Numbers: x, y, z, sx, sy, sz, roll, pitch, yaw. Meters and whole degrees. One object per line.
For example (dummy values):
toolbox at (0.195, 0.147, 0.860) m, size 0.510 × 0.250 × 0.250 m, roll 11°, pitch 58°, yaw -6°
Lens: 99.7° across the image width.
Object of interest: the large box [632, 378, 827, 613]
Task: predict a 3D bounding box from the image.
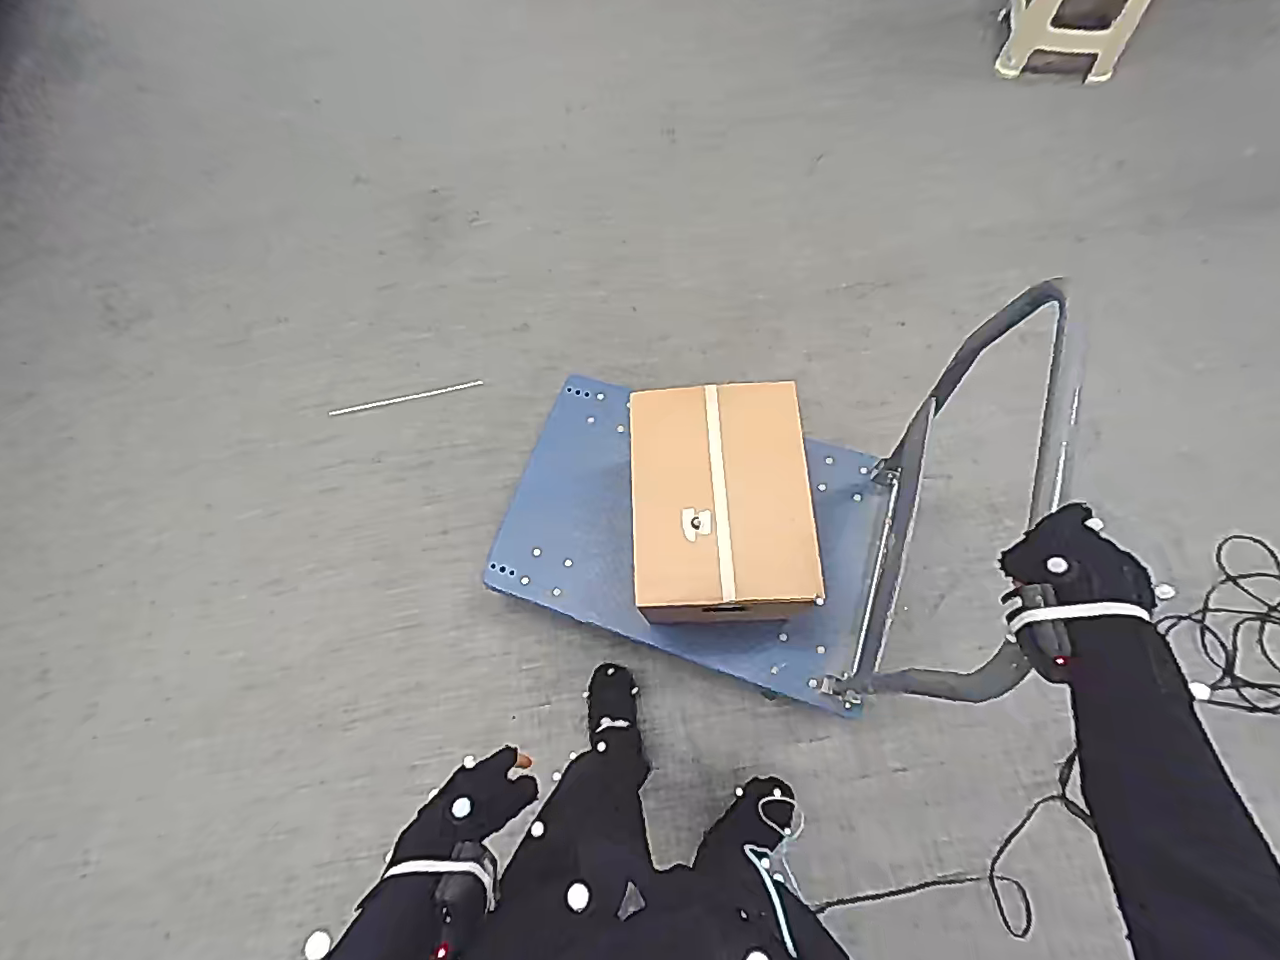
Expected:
large box at (0.158, 0.050, 1.099) m, size 0.320 × 0.320 × 0.408 m, roll -3°, pitch 72°, yaw 4°
